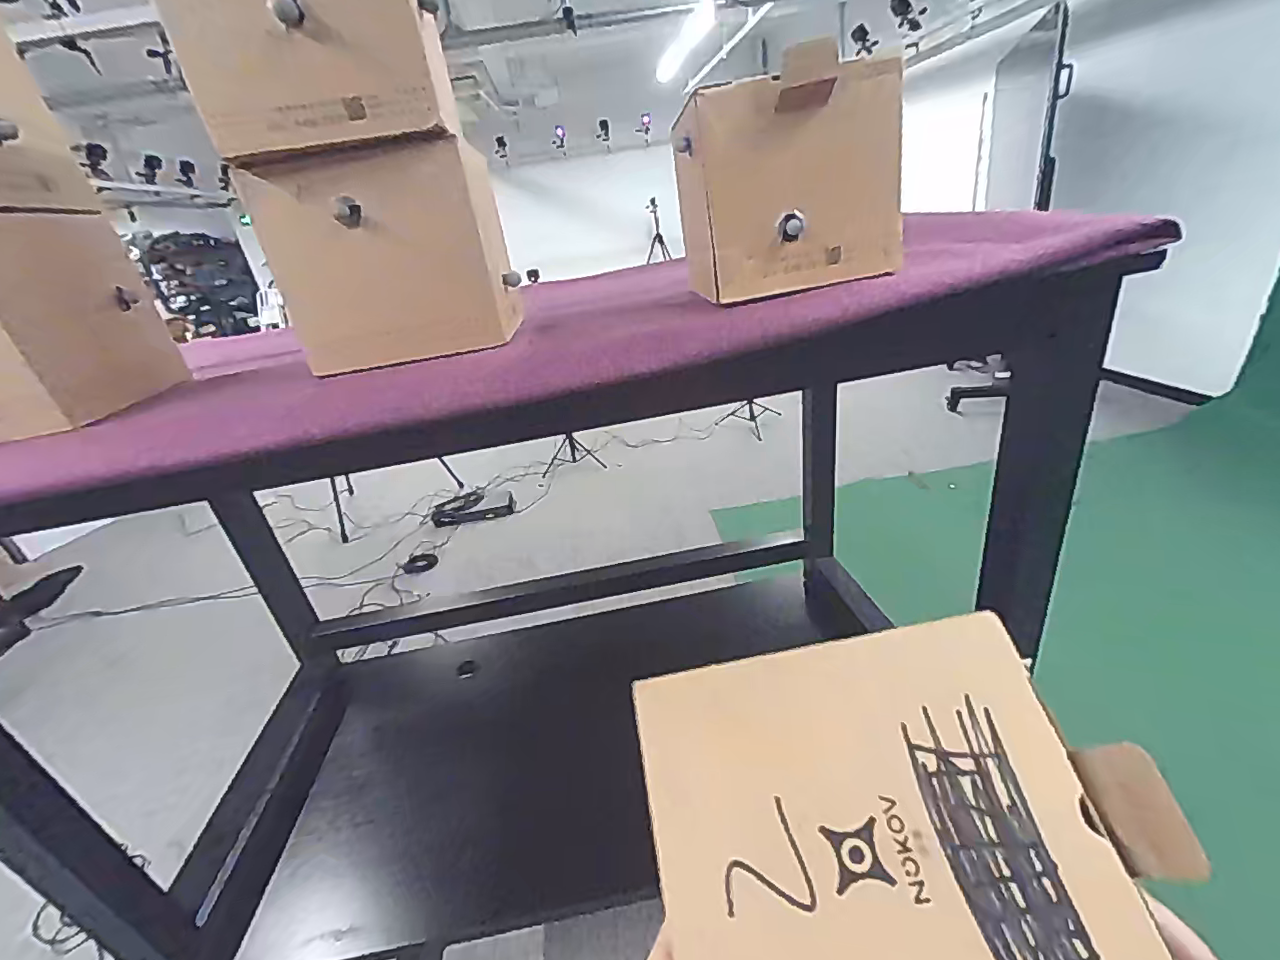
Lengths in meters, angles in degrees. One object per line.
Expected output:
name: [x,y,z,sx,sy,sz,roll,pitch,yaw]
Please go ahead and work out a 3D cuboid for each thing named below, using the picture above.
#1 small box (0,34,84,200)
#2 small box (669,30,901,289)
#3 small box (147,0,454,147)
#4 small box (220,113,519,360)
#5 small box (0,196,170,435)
small box: [-0.596,-0.282,0.393,0.179,0.176,0.168,-14,27,-6]
small box: [0.126,-0.286,0.519,0.168,0.176,0.179,-11,24,1]
small box: [-0.257,-0.360,0.432,0.168,0.176,0.179,-13,26,-6]
small box: [-0.228,-0.220,0.512,0.179,0.176,0.168,-10,25,-2]
small box: [-0.565,-0.137,0.466,0.168,0.176,0.179,-13,28,-5]
